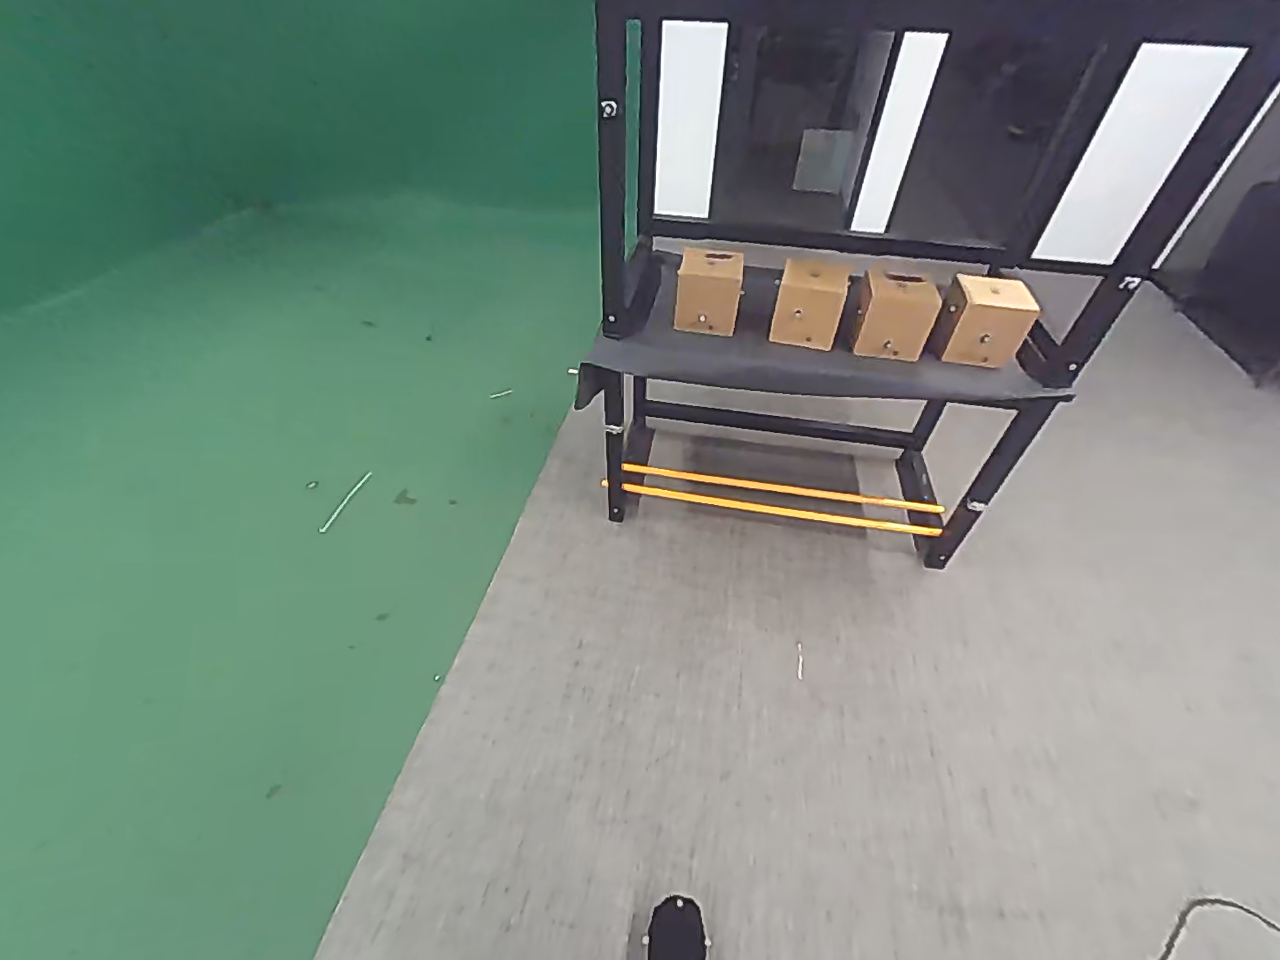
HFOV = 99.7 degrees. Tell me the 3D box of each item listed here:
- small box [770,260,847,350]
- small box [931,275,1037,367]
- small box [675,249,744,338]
[{"bbox_3d":[0.456,-0.475,1.471,0.168,0.176,0.179,12,45,11],"label":"small box"},{"bbox_3d":[0.890,-0.416,1.418,0.168,0.176,0.179,10,44,8],"label":"small box"},{"bbox_3d":[0.192,-0.521,1.506,0.168,0.176,0.179,8,45,6],"label":"small box"}]
